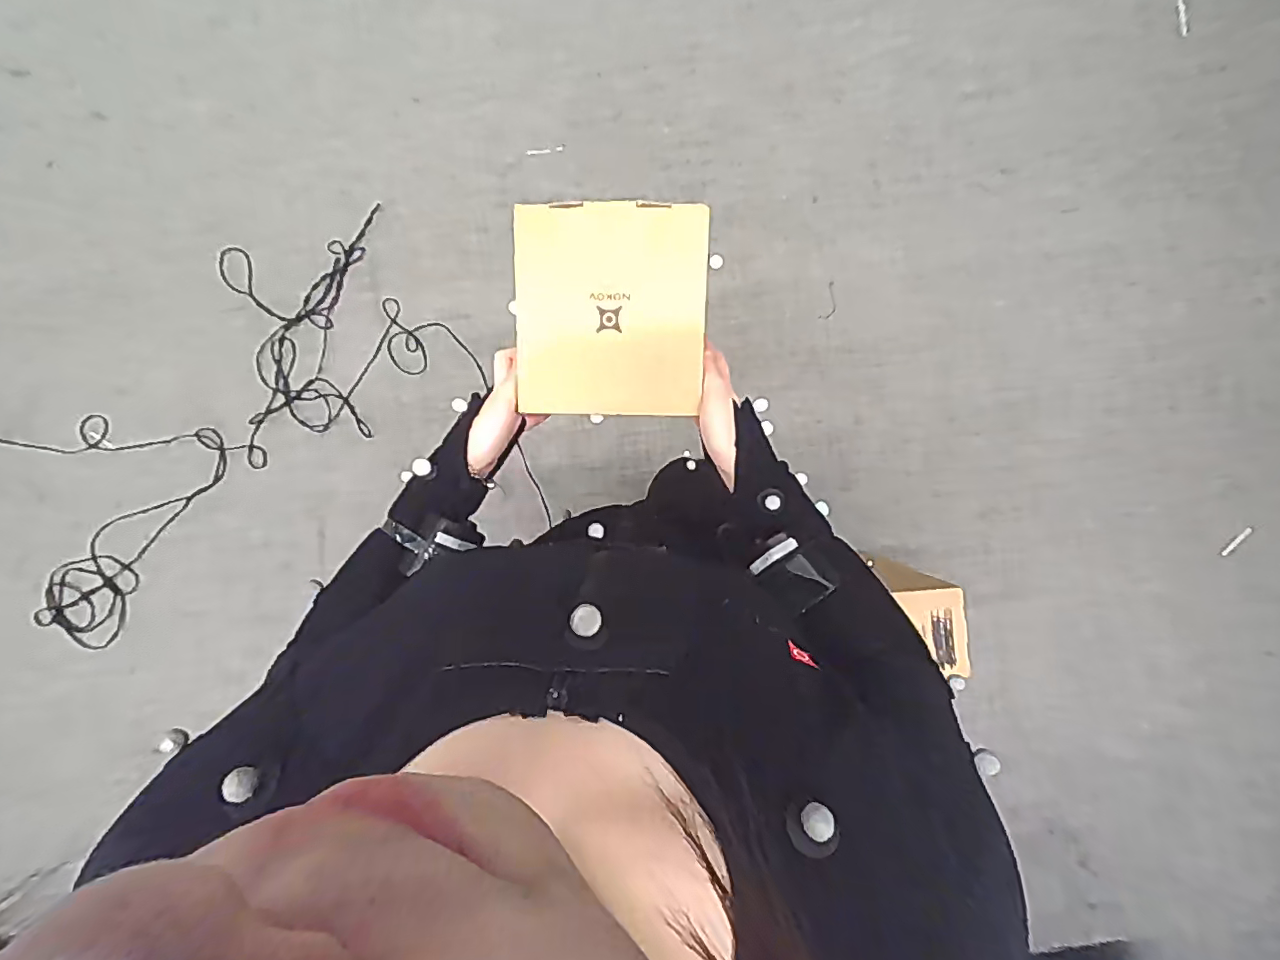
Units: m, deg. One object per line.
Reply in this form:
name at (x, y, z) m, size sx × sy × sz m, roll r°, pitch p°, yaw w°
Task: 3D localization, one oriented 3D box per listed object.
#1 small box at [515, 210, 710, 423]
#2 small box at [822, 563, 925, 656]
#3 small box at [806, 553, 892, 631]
small box at (-0.019, -0.155, 0.542) m, size 0.168 × 0.176 × 0.179 m, roll 1°, pitch 102°, yaw 3°
small box at (0.522, 0.286, 1.232) m, size 0.168 × 0.176 × 0.179 m, roll -5°, pitch 90°, yaw 3°
small box at (0.536, 0.285, 1.396) m, size 0.179 × 0.176 × 0.168 m, roll -5°, pitch 89°, yaw 2°
